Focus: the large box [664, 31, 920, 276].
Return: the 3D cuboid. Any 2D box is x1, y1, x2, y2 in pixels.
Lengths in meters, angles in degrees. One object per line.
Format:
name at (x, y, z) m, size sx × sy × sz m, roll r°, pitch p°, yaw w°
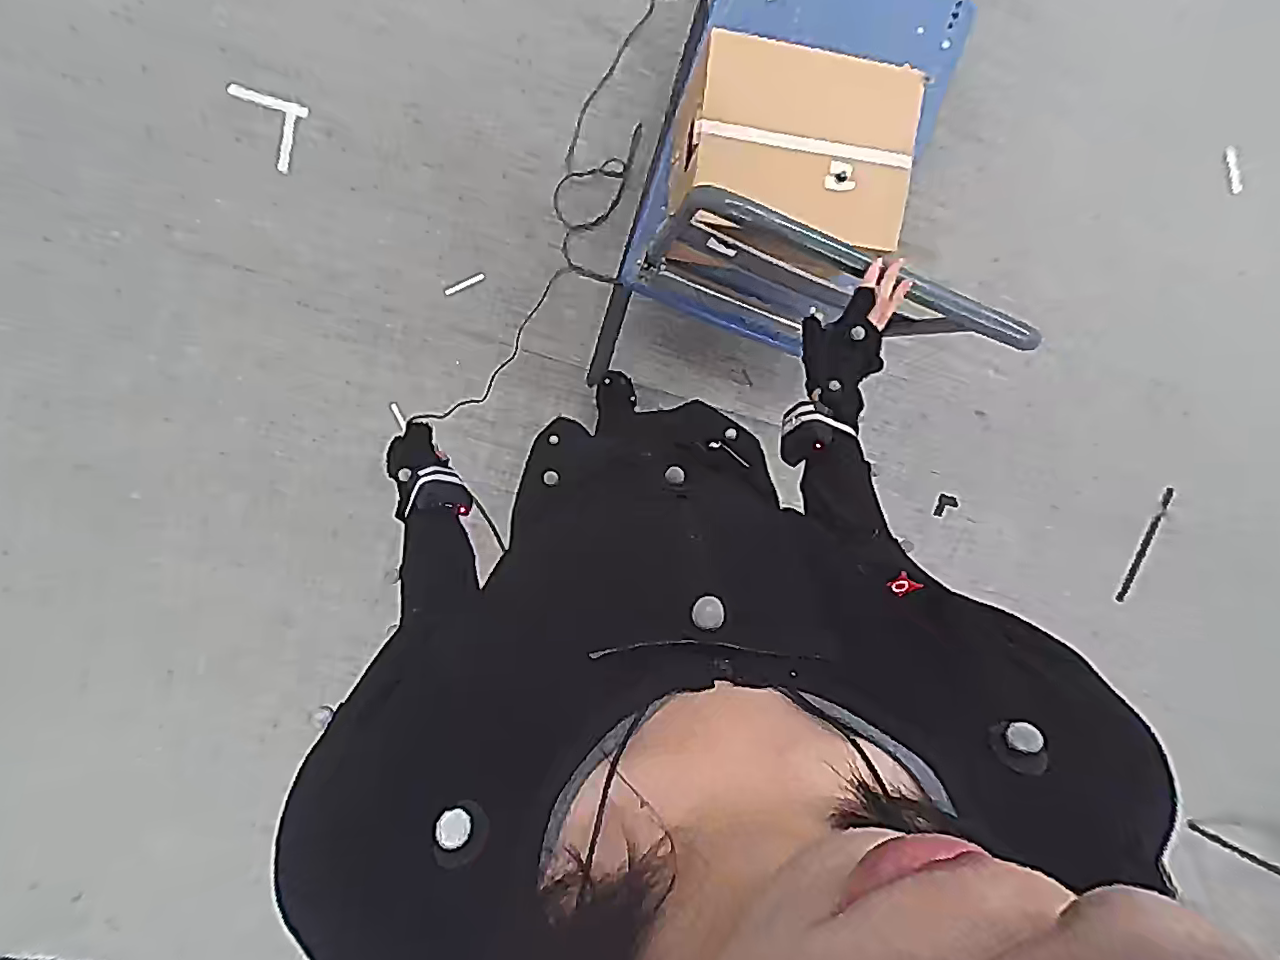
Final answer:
large box at (0.280, -0.631, 1.119) m, size 0.408 × 0.320 × 0.320 m, roll 4°, pitch 100°, yaw -9°
